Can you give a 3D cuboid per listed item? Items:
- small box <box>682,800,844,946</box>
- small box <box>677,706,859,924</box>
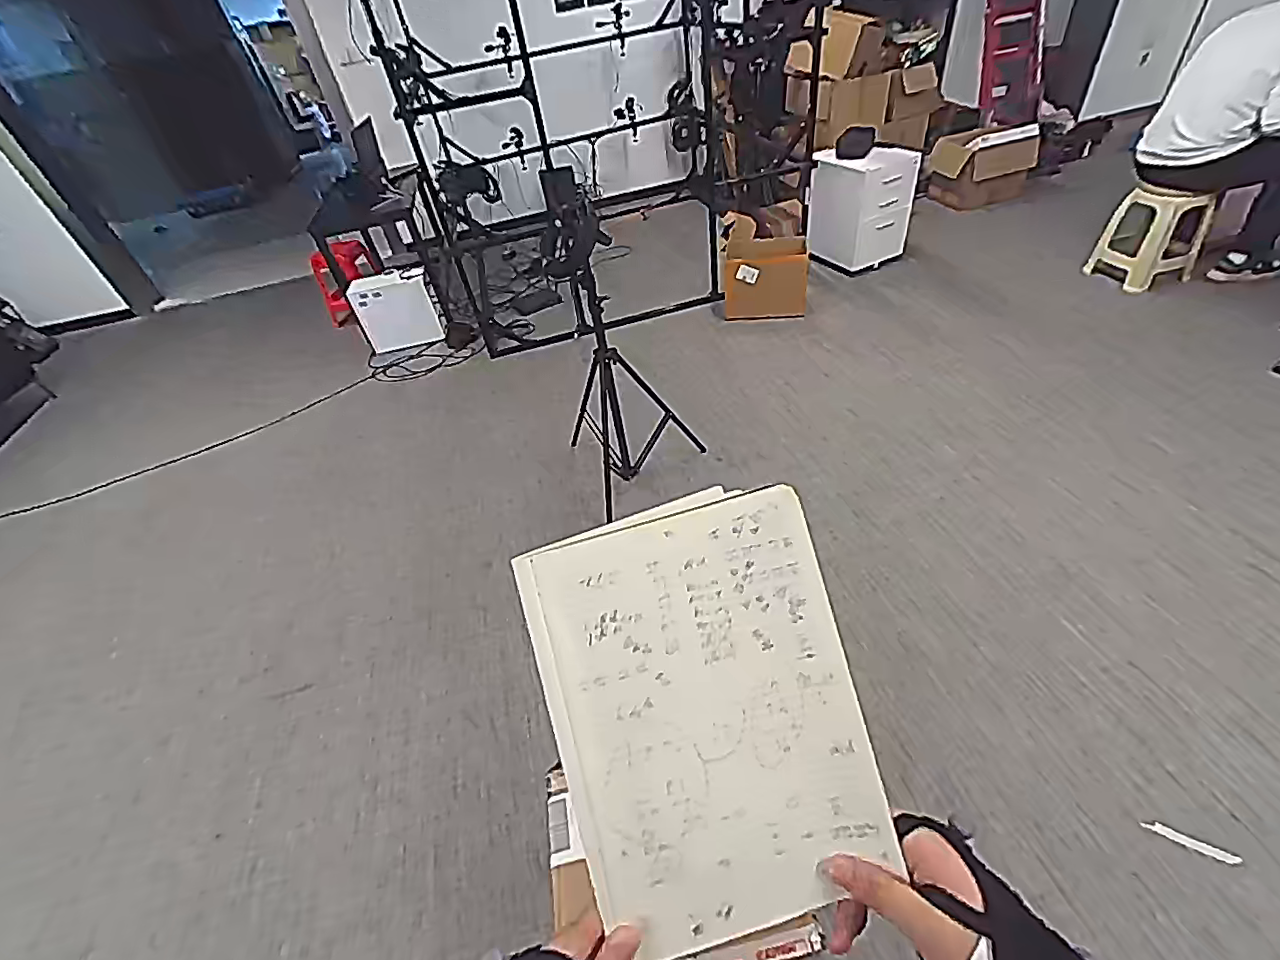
[{"bbox_3d":[0.172,0.556,0.806,0.179,0.176,0.168,-16,43,-8],"label":"small box"},{"bbox_3d":[0.151,0.431,0.701,0.168,0.176,0.179,-14,43,-7],"label":"small box"}]
